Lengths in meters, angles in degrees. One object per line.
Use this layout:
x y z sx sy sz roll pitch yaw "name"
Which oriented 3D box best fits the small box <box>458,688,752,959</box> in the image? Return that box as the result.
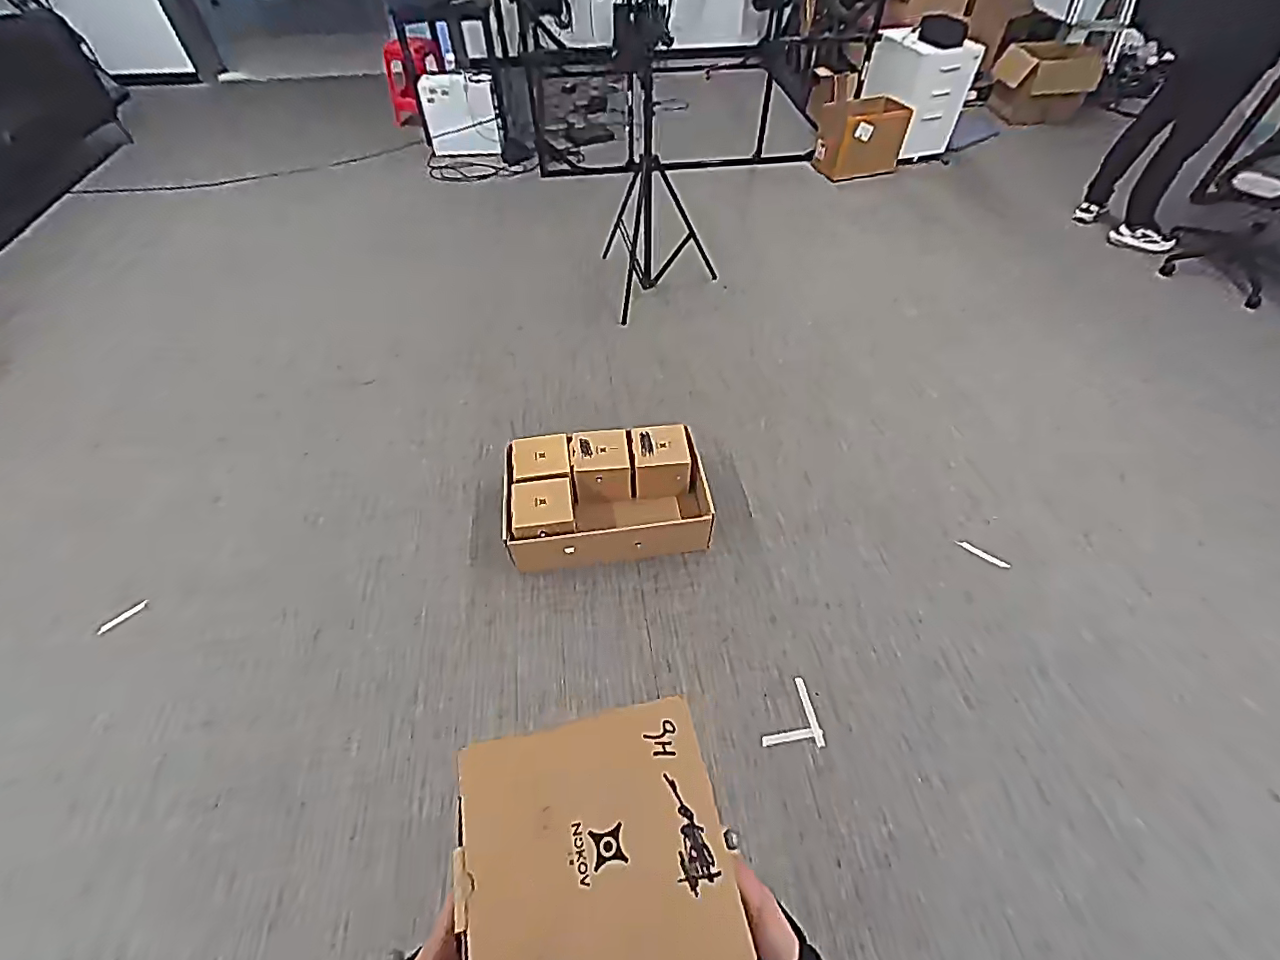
-0.033 0.287 0.429 0.179 0.176 0.168 -10 57 -10 "small box"
